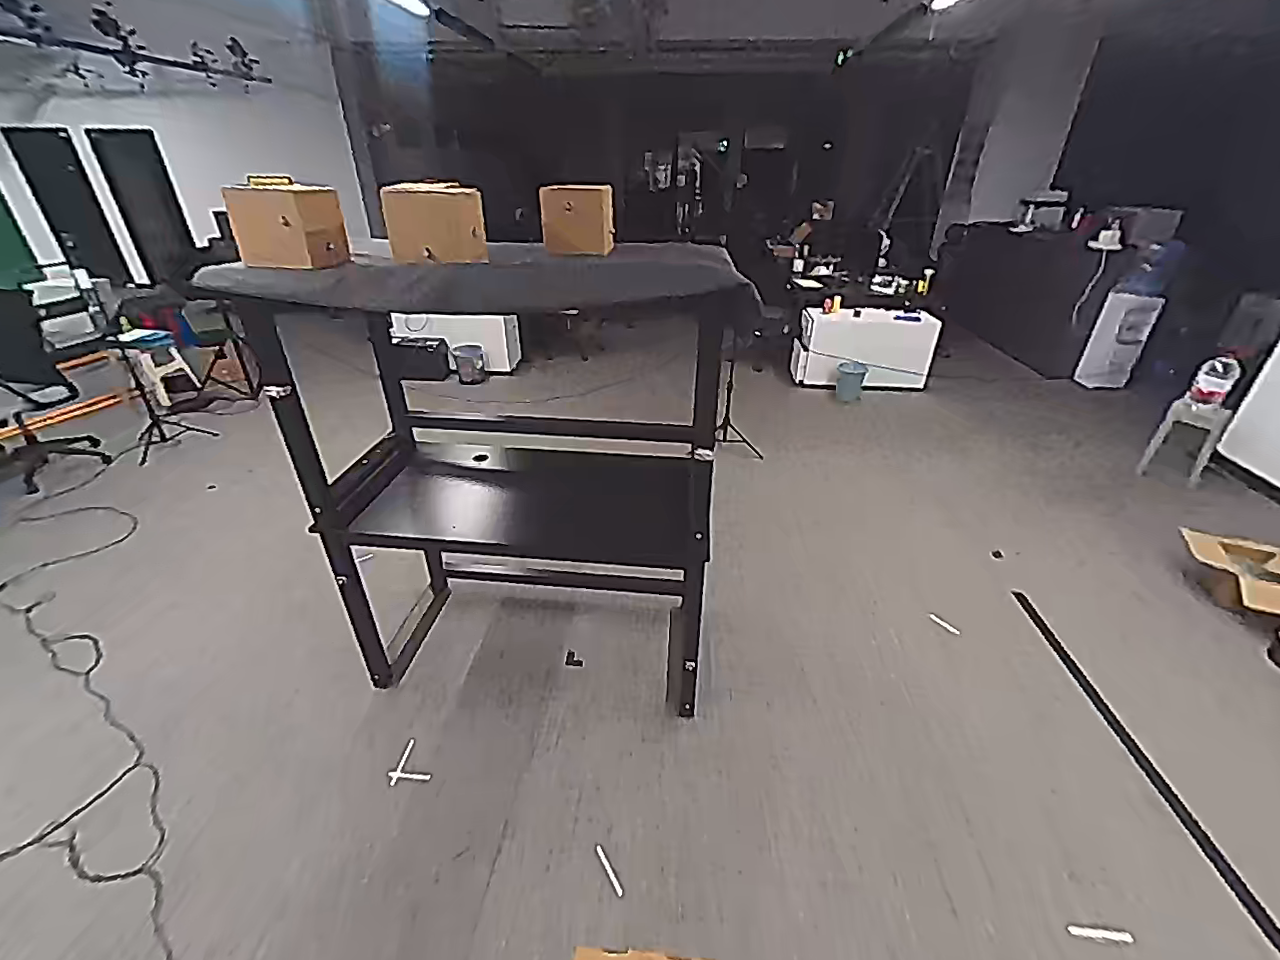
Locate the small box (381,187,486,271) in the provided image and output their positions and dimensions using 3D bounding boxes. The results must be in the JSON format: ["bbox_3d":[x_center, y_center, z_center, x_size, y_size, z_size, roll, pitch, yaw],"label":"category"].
[{"bbox_3d":[-0.481,-0.601,1.294,0.179,0.176,0.168,3,29,4],"label":"small box"}]

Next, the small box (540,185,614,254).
[{"bbox_3d":[-0.173,-0.745,1.545,0.179,0.176,0.168,3,31,5],"label":"small box"}]
